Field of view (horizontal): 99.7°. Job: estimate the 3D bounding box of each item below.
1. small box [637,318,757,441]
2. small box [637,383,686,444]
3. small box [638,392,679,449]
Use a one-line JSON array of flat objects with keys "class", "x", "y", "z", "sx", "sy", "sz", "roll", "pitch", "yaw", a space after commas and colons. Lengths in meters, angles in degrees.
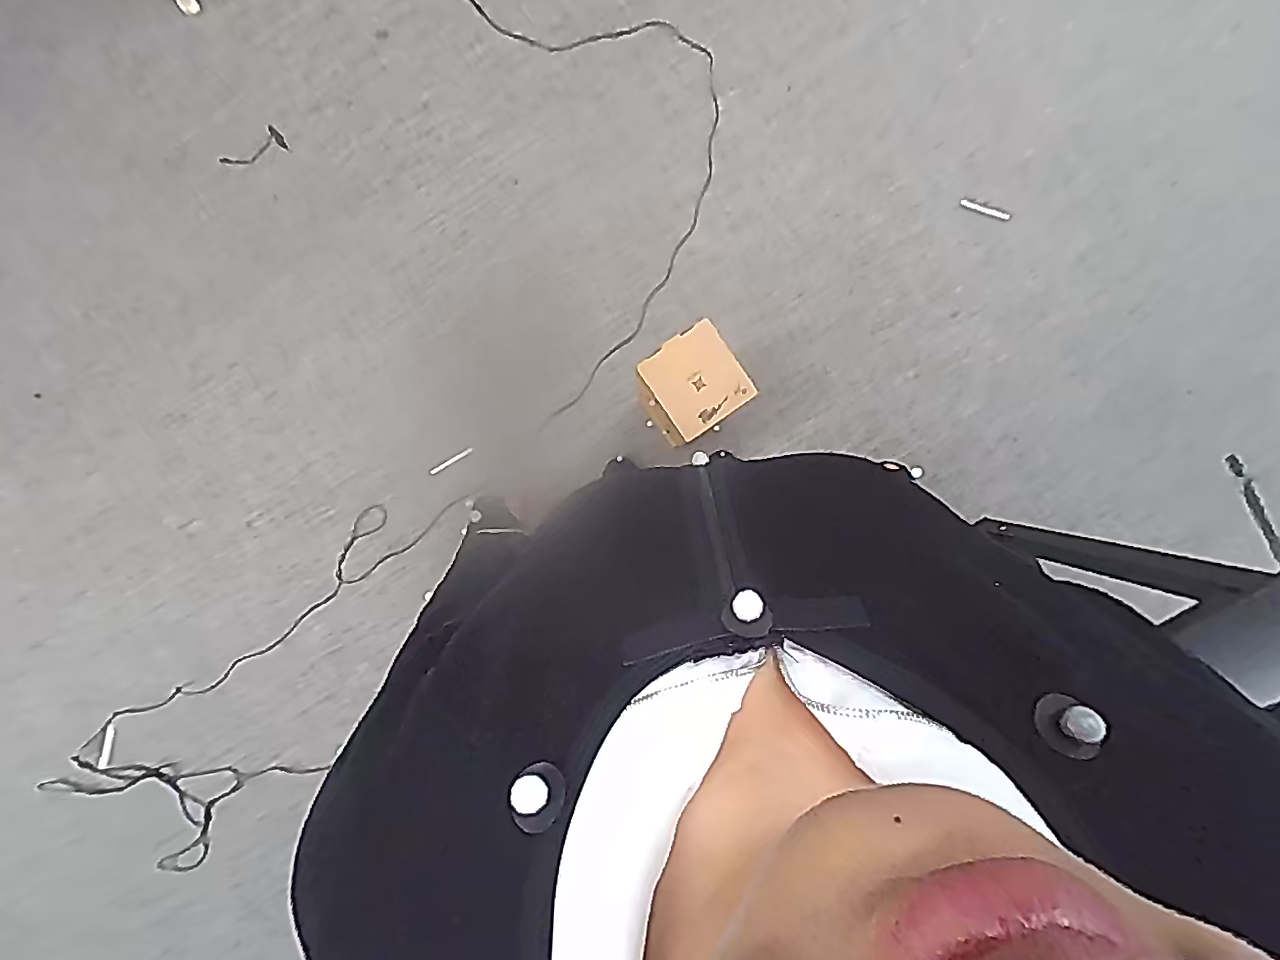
[{"class": "small box", "x": 0.106, "y": -0.190, "z": 1.088, "sx": 0.168, "sy": 0.176, "sz": 0.179, "roll": -35, "pitch": 92, "yaw": 2}, {"class": "small box", "x": 0.111, "y": -0.195, "z": 1.252, "sx": 0.179, "sy": 0.176, "sz": 0.168, "roll": -37, "pitch": 92, "yaw": 1}, {"class": "small box", "x": 0.109, "y": -0.197, "z": 1.414, "sx": 0.179, "sy": 0.176, "sz": 0.168, "roll": -34, "pitch": 91, "yaw": 3}]
